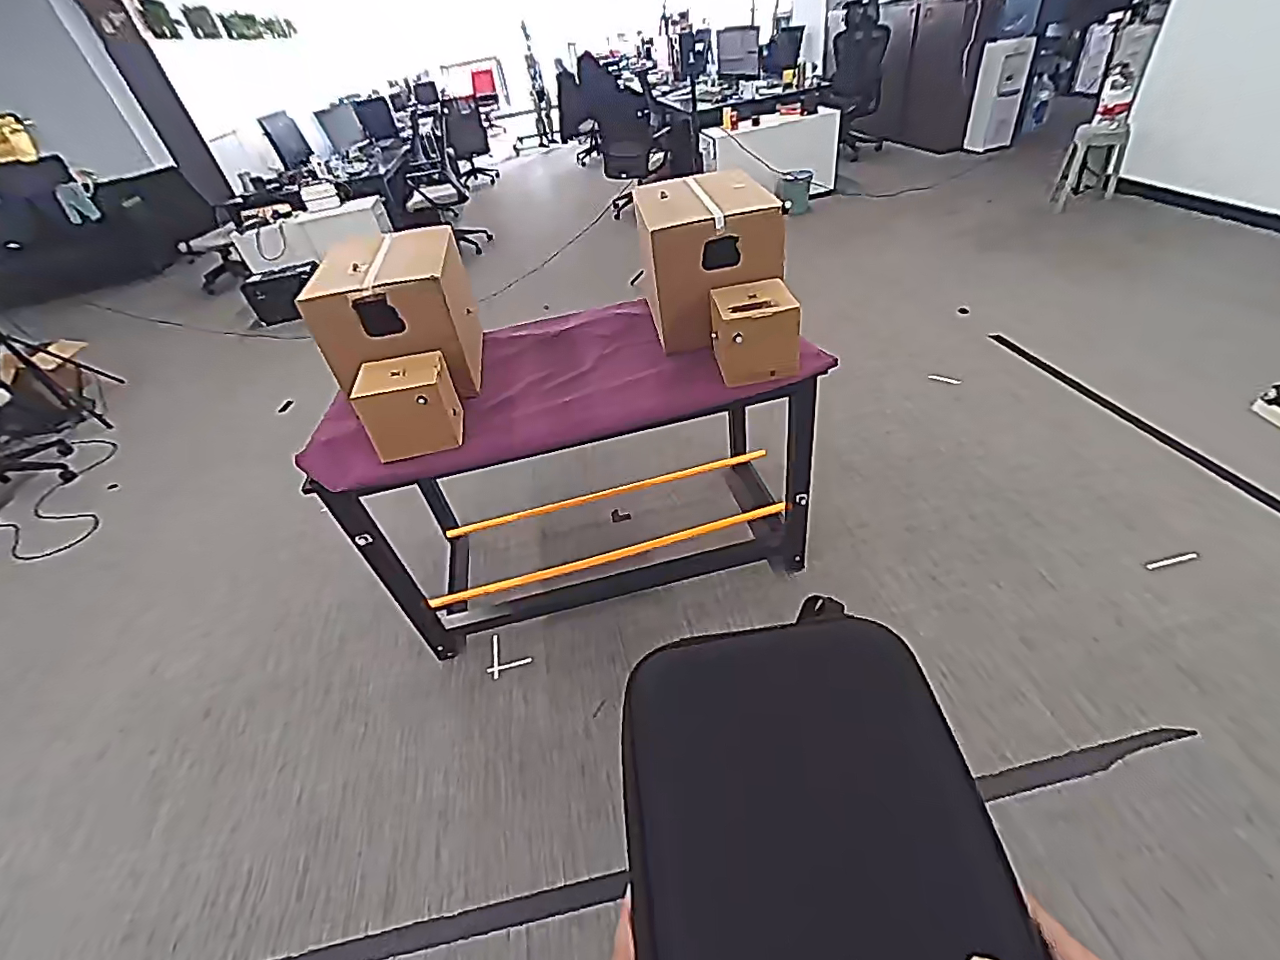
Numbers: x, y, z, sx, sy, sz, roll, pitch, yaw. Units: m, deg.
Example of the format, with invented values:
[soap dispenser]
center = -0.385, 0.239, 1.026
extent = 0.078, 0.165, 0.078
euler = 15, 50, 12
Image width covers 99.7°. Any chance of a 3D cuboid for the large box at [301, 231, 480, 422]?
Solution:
[large box]
center = -0.615, -0.413, 1.422
extent = 0.320, 0.320, 0.408
euler = -13, 43, -5
